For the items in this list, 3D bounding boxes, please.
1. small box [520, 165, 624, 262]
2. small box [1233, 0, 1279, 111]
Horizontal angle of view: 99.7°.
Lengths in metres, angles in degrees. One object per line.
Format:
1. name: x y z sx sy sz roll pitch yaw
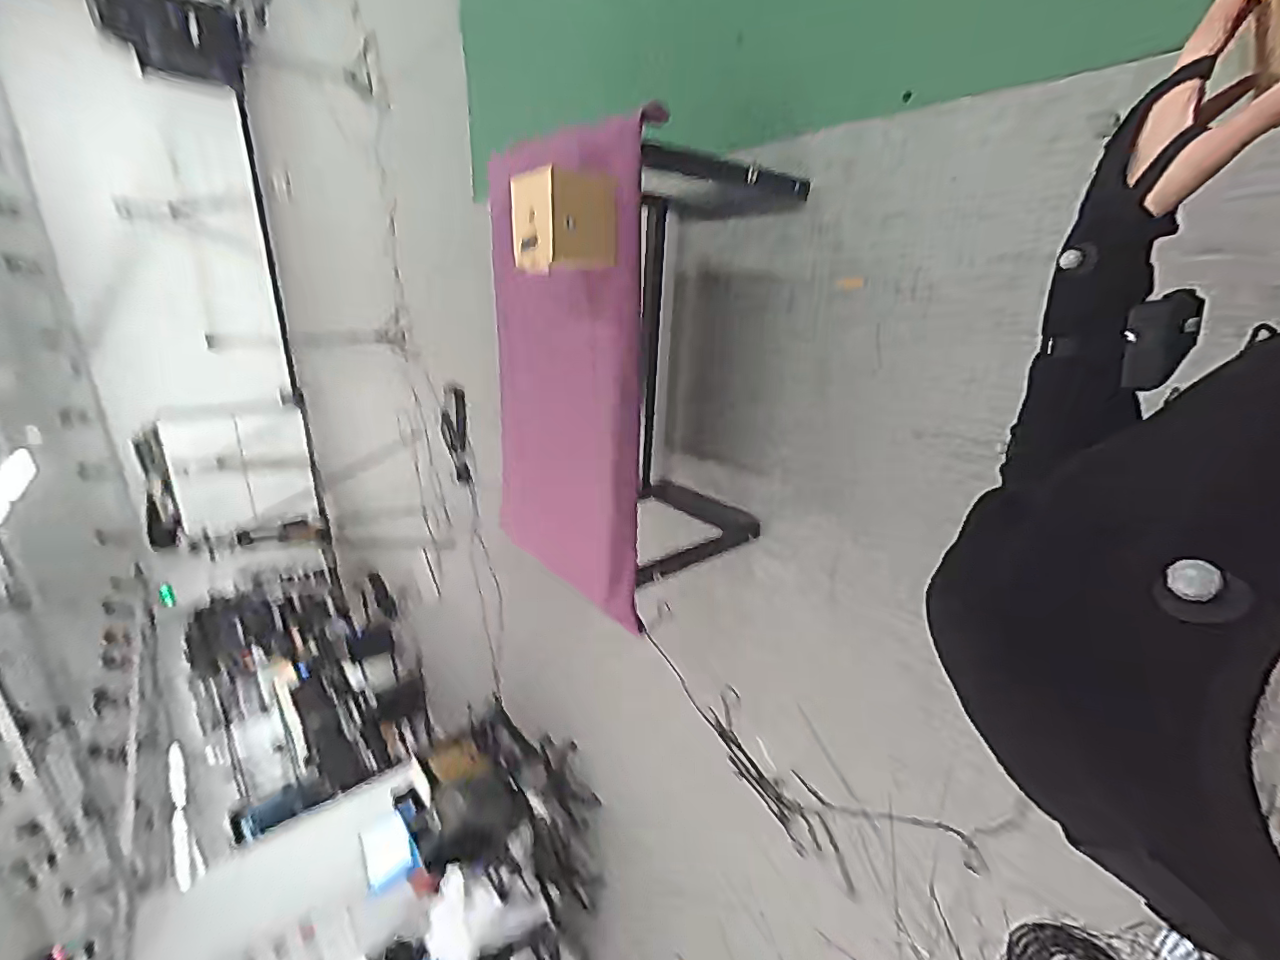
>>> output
1. small box: -0.149 -0.582 1.204 0.168 0.176 0.179 21 117 46
2. small box: 0.423 -0.330 0.270 0.168 0.176 0.179 -10 97 45
